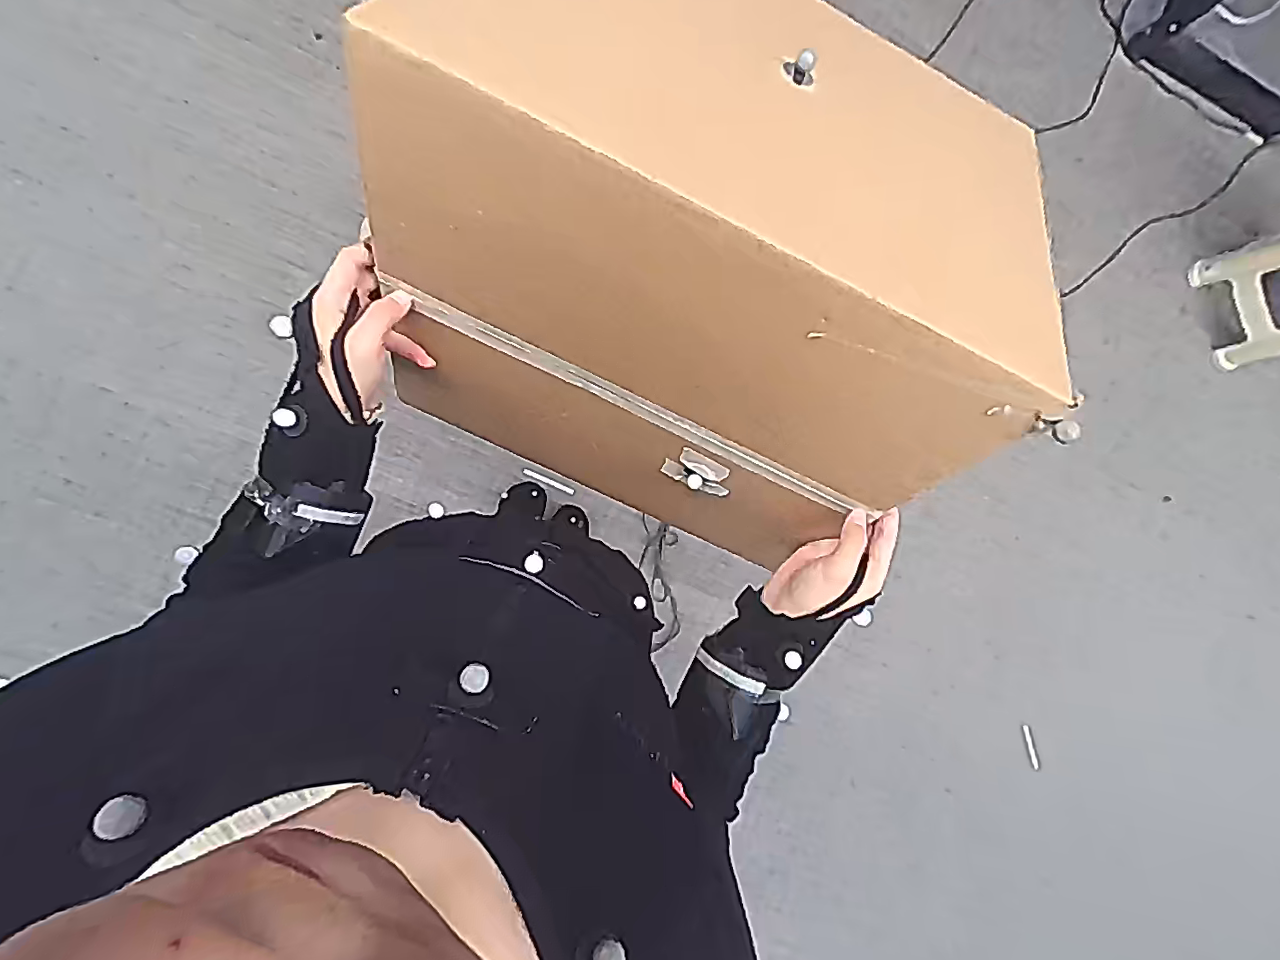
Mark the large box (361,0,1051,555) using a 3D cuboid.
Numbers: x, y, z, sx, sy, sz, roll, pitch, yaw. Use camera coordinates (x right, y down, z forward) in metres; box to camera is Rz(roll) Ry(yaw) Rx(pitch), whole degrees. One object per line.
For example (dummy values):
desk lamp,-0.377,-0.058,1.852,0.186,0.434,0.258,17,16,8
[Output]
large box,0.046,-0.187,0.480,0.408,0.320,0.320,24,60,-7
